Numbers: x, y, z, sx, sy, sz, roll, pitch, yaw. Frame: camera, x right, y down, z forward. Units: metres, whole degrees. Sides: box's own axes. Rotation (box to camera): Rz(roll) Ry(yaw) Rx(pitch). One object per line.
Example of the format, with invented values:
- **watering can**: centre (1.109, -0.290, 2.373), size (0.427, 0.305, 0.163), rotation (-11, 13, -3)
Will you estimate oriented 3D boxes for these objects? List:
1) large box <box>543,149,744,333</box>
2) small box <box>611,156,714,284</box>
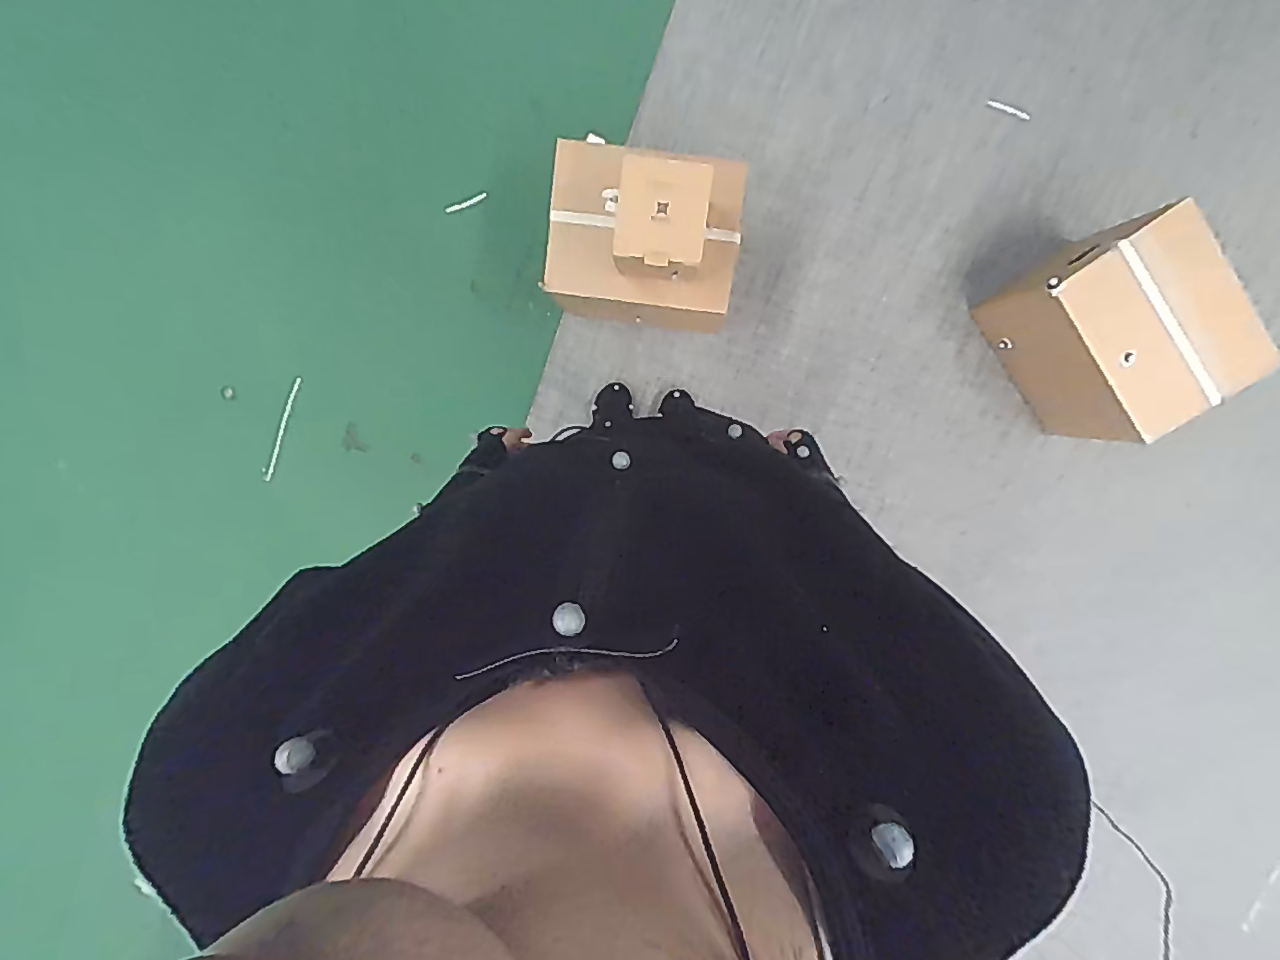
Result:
- **large box**: centre (0.014, -0.540, 1.288), size (0.408, 0.320, 0.320), rotation (7, 97, 3)
- **small box**: centre (0.043, -0.489, 1.045), size (0.168, 0.176, 0.179), rotation (8, 99, 1)
